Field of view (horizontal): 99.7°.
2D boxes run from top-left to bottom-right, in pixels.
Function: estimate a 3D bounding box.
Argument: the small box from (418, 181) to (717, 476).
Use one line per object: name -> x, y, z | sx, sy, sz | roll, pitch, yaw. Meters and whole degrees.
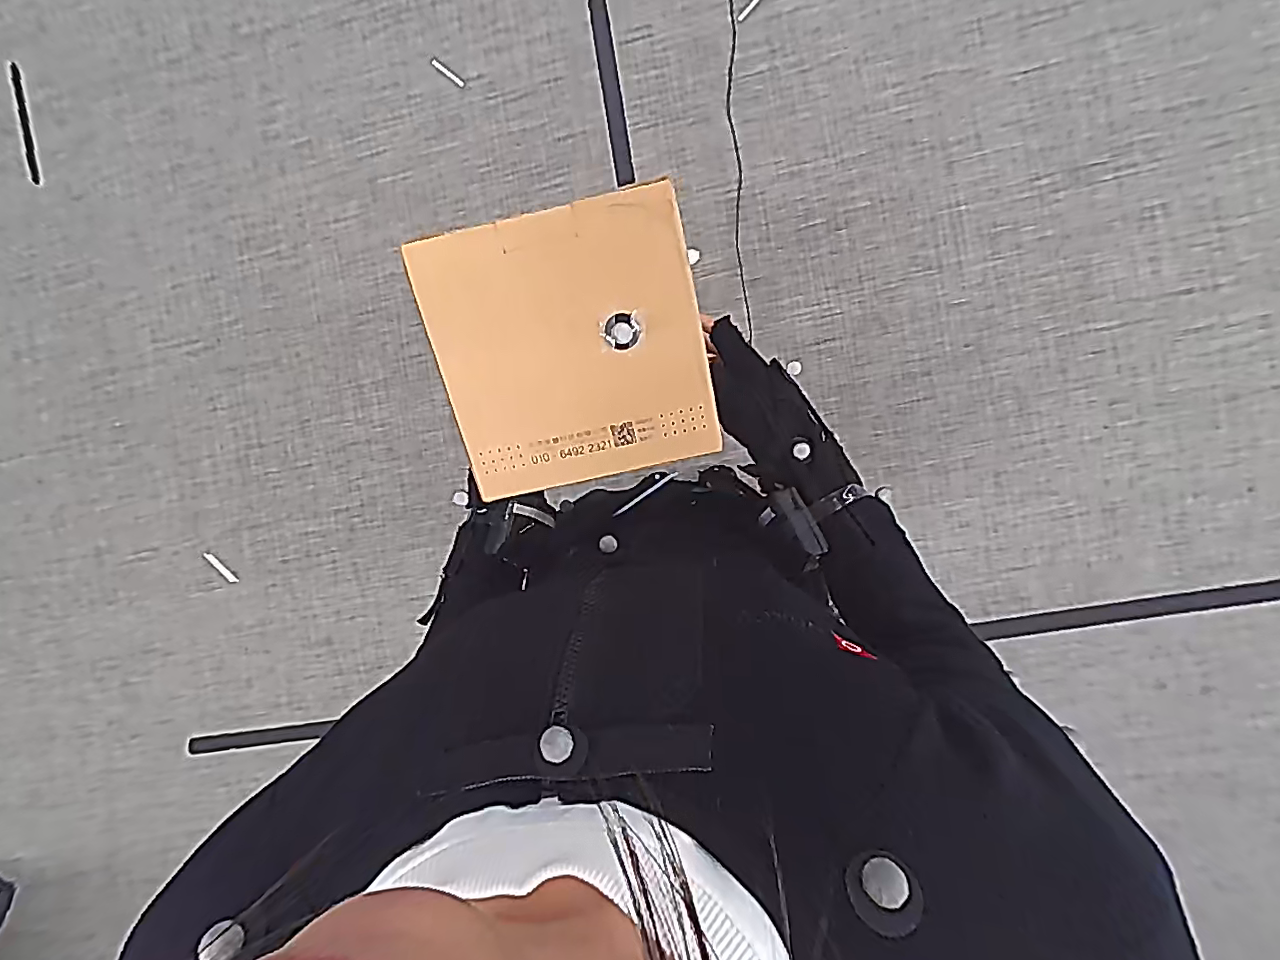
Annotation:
small box -> -0.039, -0.110, 0.429 | 0.168, 0.179, 0.176 | -11, 108, 6
